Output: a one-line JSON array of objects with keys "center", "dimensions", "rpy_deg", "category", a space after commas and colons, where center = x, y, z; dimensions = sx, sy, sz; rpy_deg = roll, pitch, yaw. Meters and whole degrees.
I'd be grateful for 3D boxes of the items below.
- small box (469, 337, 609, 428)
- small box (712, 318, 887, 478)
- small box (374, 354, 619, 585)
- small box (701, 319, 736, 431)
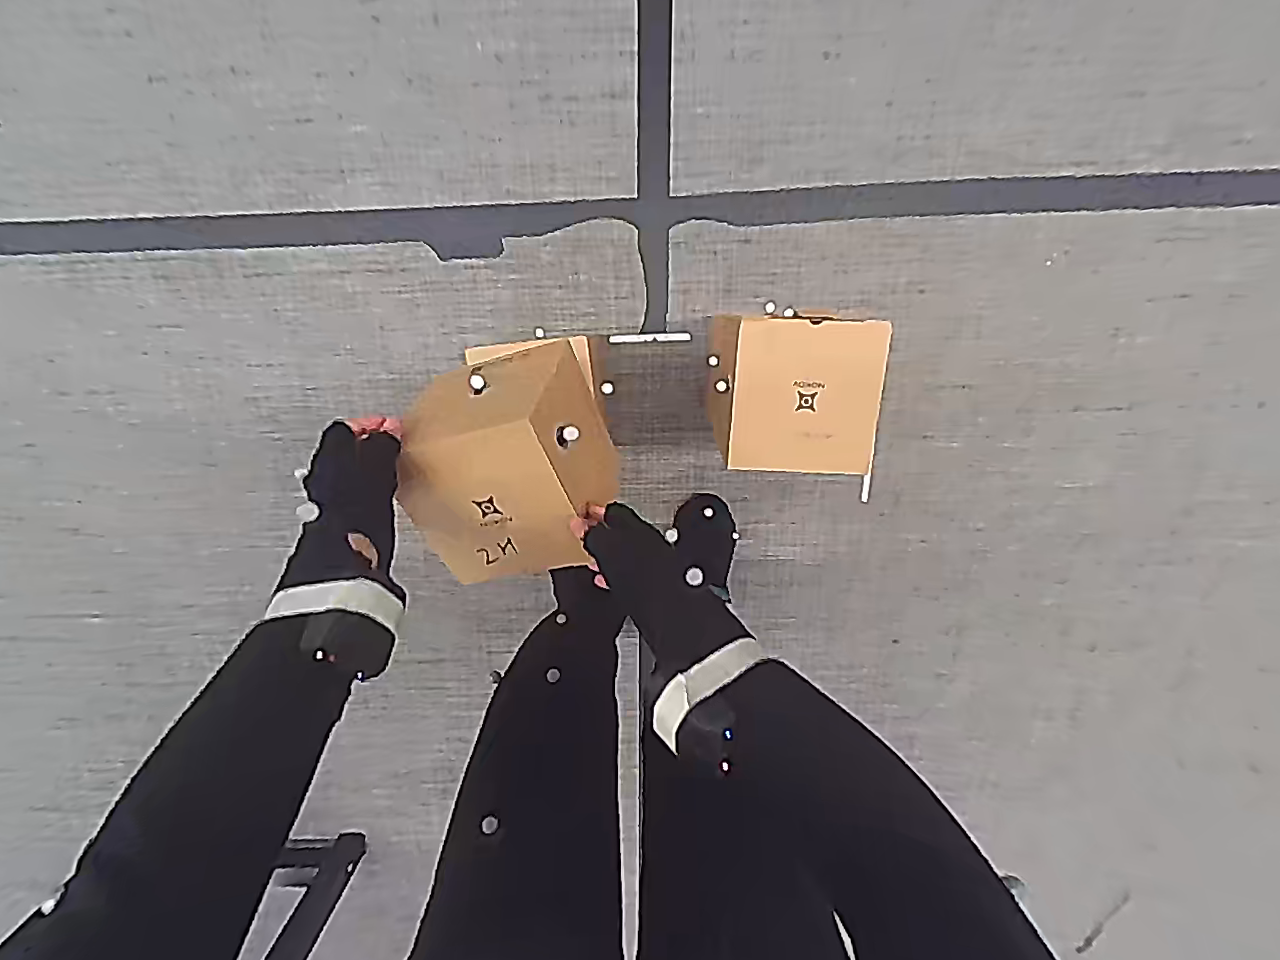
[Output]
[{"center": [-0.148, -0.135, 0.857], "dimensions": [0.179, 0.176, 0.168], "rpy_deg": [-5, 106, 2], "category": "small box"}, {"center": [0.187, -0.112, 0.690], "dimensions": [0.168, 0.176, 0.179], "rpy_deg": [3, 107, 1], "category": "small box"}, {"center": [-0.132, -0.016, 0.576], "dimensions": [0.168, 0.176, 0.179], "rpy_deg": [-11, 127, 16], "category": "small box"}, {"center": [0.198, -0.162, 0.846], "dimensions": [0.179, 0.176, 0.168], "rpy_deg": [3, 106, -1], "category": "small box"}]
